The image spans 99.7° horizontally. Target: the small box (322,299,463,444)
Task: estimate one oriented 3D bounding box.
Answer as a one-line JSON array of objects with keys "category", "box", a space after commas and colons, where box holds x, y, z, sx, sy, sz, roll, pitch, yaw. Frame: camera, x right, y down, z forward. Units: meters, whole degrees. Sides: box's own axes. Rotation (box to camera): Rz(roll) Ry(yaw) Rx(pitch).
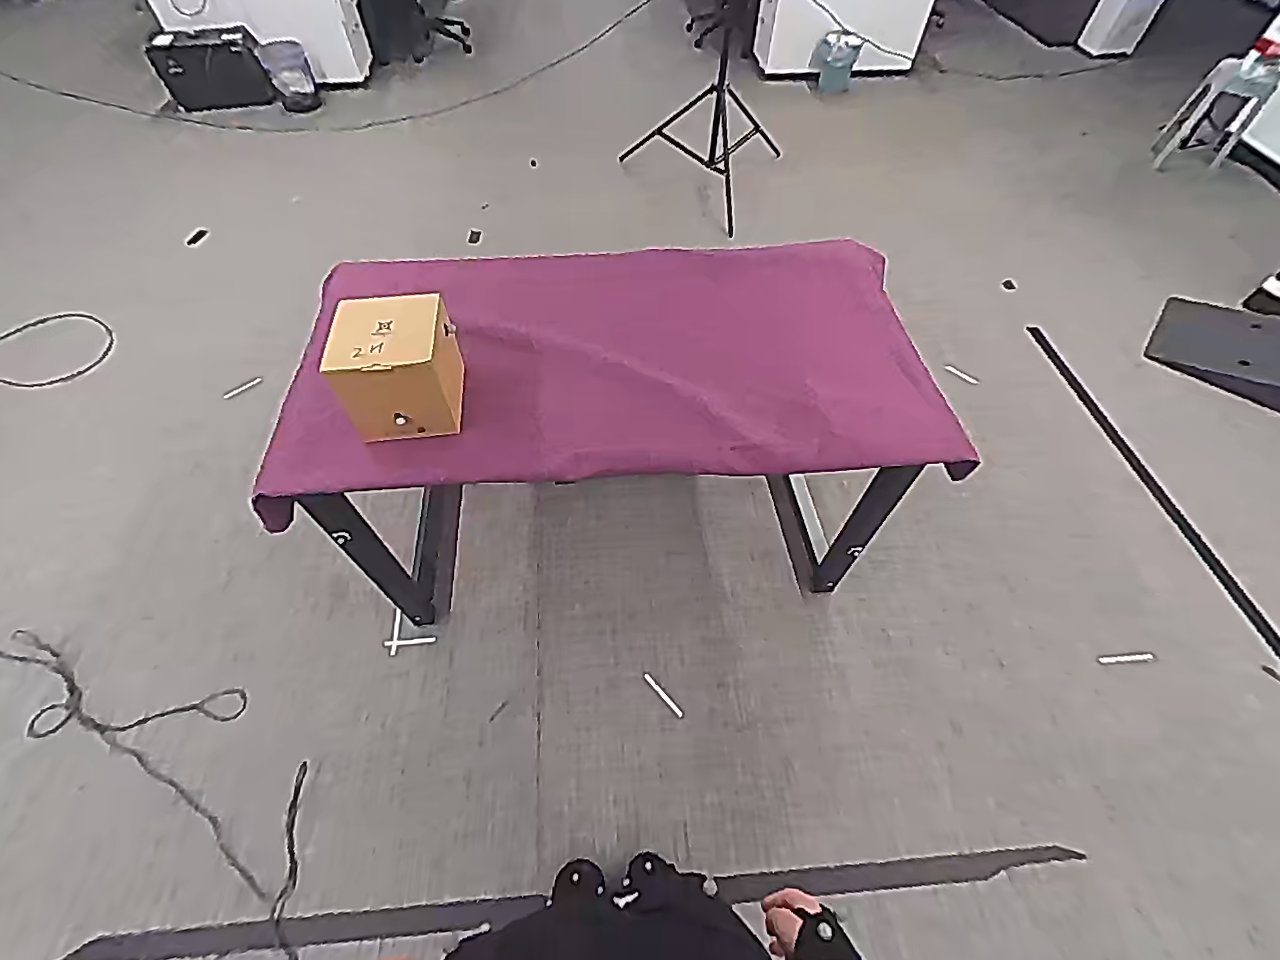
[{"category": "small box", "box": [-0.410, -0.185, 0.931, 0.168, 0.176, 0.179, -6, 55, -5]}]
